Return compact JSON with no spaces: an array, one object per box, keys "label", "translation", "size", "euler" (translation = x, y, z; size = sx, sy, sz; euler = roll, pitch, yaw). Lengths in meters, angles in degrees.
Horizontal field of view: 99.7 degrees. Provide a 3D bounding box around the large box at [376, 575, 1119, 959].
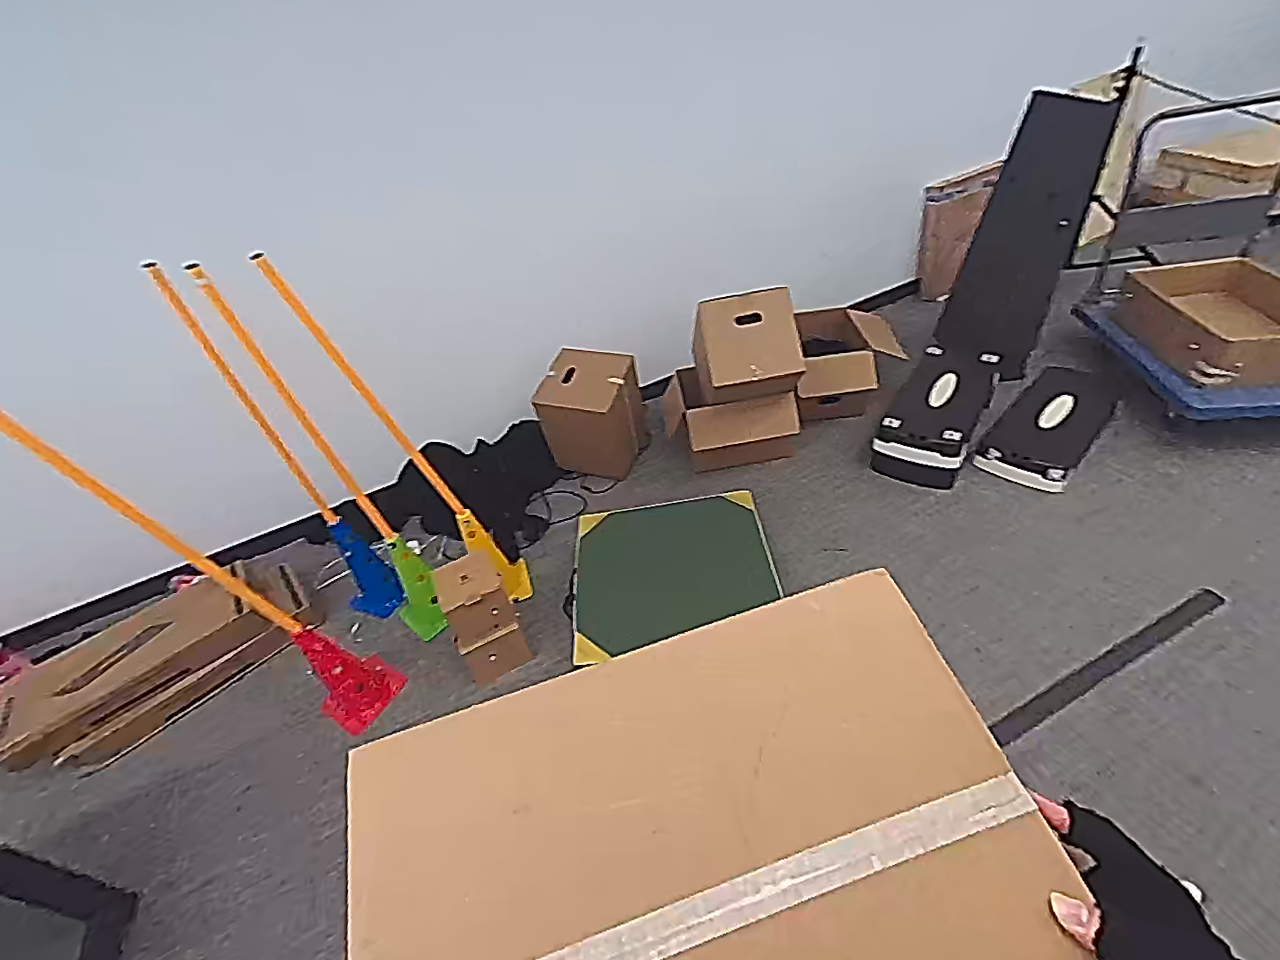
[{"label":"large box","translation":[0.059,0.334,0.442],"size":[0.408,0.320,0.320],"euler":[-18,58,-4]}]
